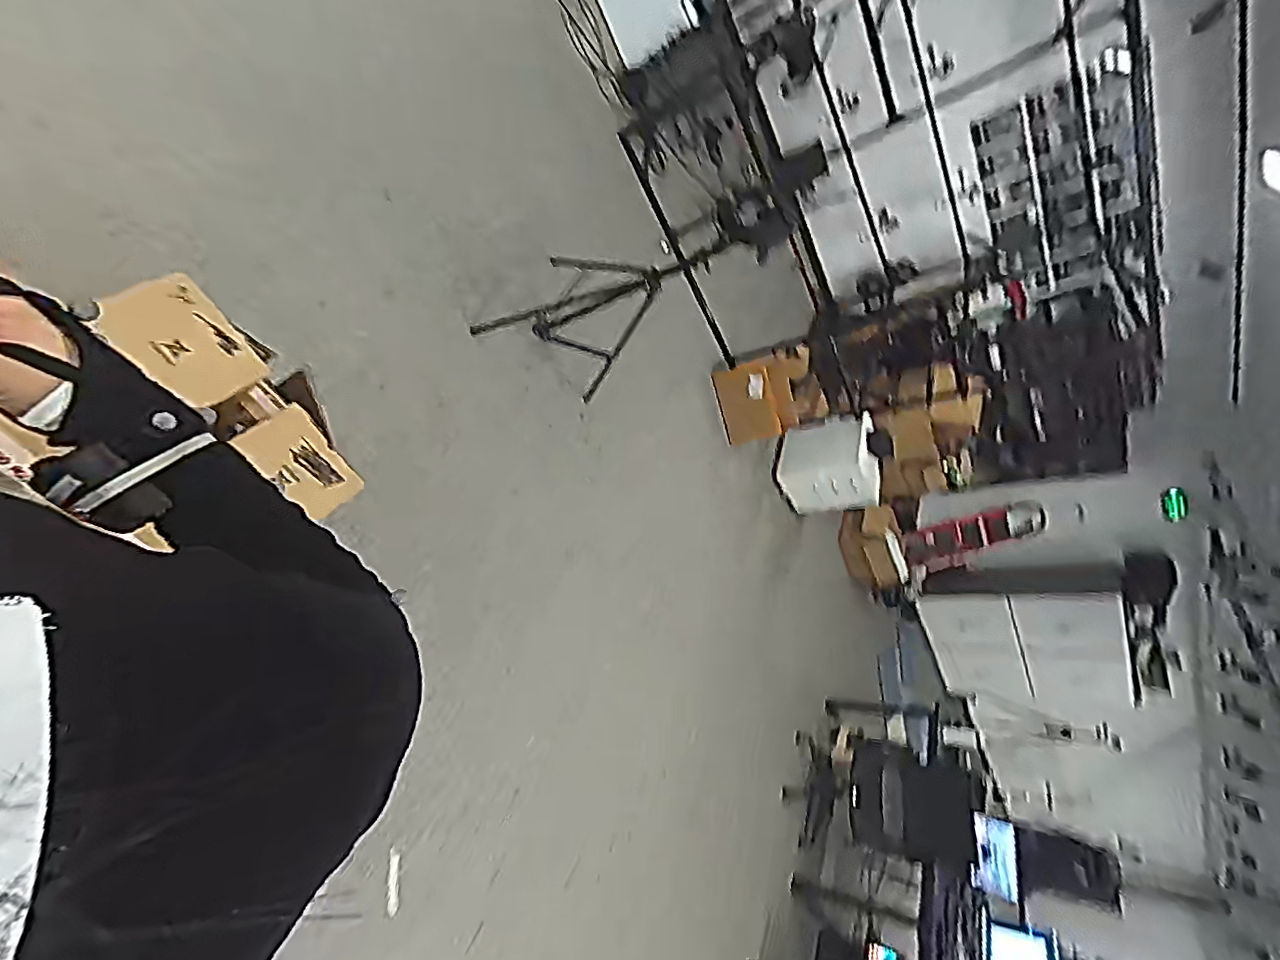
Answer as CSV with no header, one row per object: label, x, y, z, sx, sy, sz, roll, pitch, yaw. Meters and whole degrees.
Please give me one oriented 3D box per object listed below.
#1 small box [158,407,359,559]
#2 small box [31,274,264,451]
small box,-0.602,0.007,0.858,0.179,0.176,0.168,-54,125,-42
small box,-0.695,-0.160,0.771,0.168,0.176,0.179,59,44,-23
